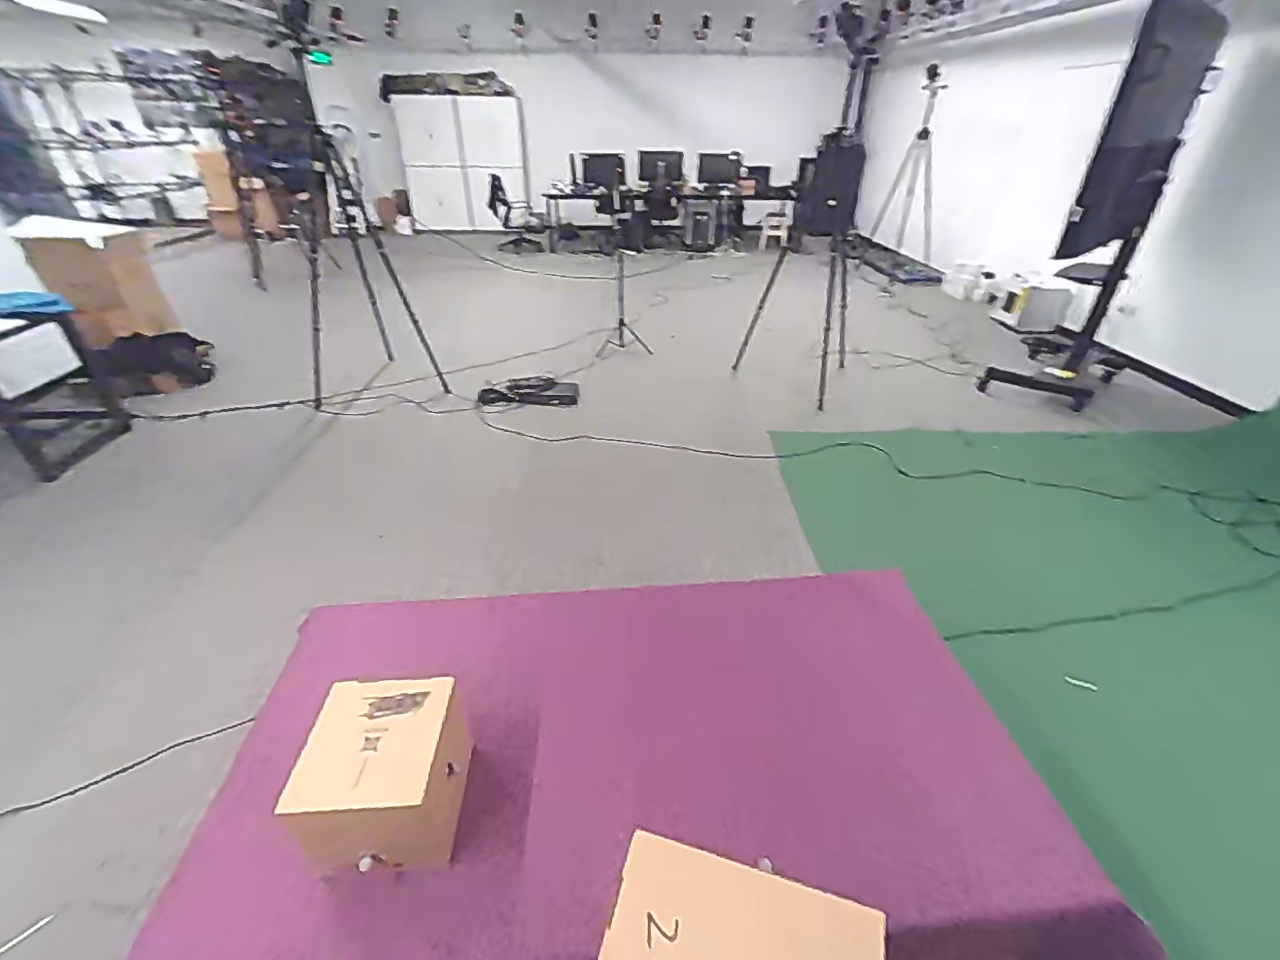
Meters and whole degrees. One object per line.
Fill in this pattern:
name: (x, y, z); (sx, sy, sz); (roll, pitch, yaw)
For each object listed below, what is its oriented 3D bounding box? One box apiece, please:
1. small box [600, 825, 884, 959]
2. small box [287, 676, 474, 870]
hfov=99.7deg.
small box: (0.065, 0.384, 0.389); (0.179, 0.176, 0.168); (8, 47, 18)
small box: (-0.332, 0.394, 0.736); (0.168, 0.176, 0.179); (-2, 34, -3)
